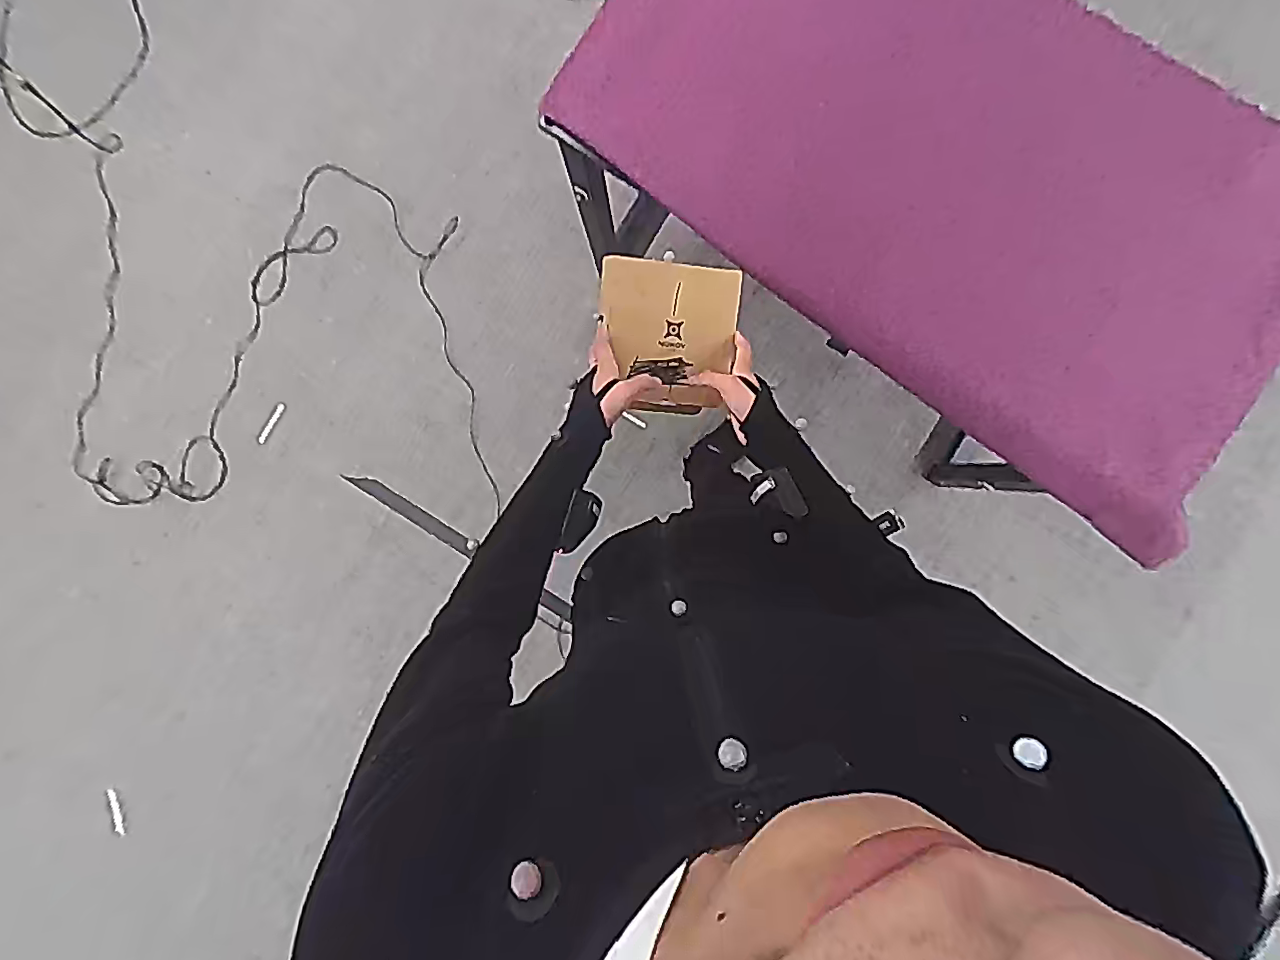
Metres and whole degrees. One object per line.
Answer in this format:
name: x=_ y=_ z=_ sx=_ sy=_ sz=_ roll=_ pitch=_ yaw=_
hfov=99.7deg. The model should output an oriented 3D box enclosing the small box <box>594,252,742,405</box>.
small box: x=0.027 y=-0.216 z=0.762 sx=0.168 sy=0.176 sz=0.179 roll=3 pitch=111 yaw=-10
